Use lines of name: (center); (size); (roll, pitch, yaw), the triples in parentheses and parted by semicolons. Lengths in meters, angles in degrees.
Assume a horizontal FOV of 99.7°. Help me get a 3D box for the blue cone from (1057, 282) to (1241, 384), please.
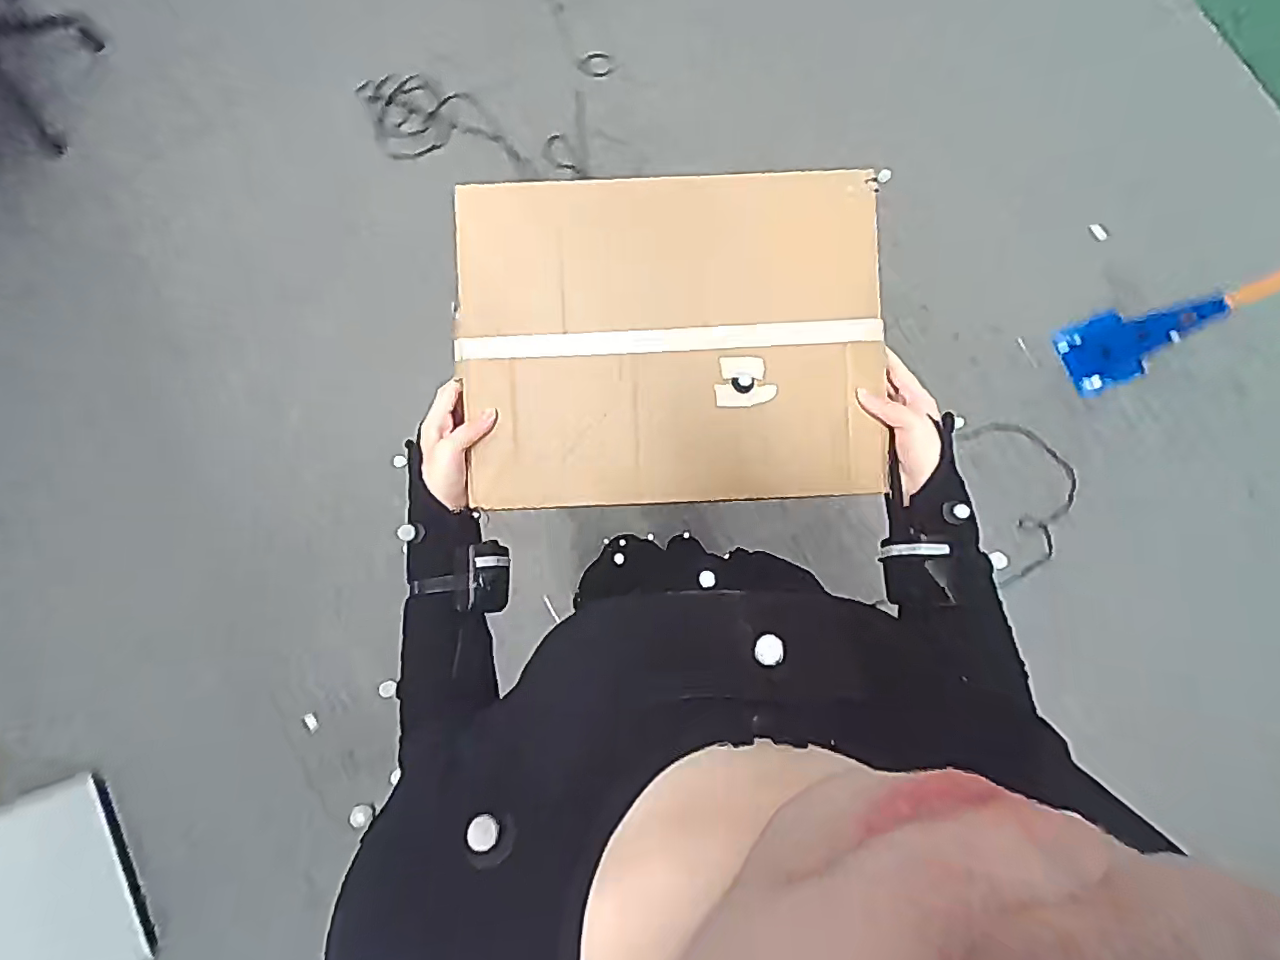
blue cone: (1.273, -0.391, 1.347); (0.192, 0.380, 0.193); (-22, 84, 0)

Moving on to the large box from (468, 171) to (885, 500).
large box: (0.032, -0.141, 0.674); (0.408, 0.320, 0.320); (-2, 90, -1)
